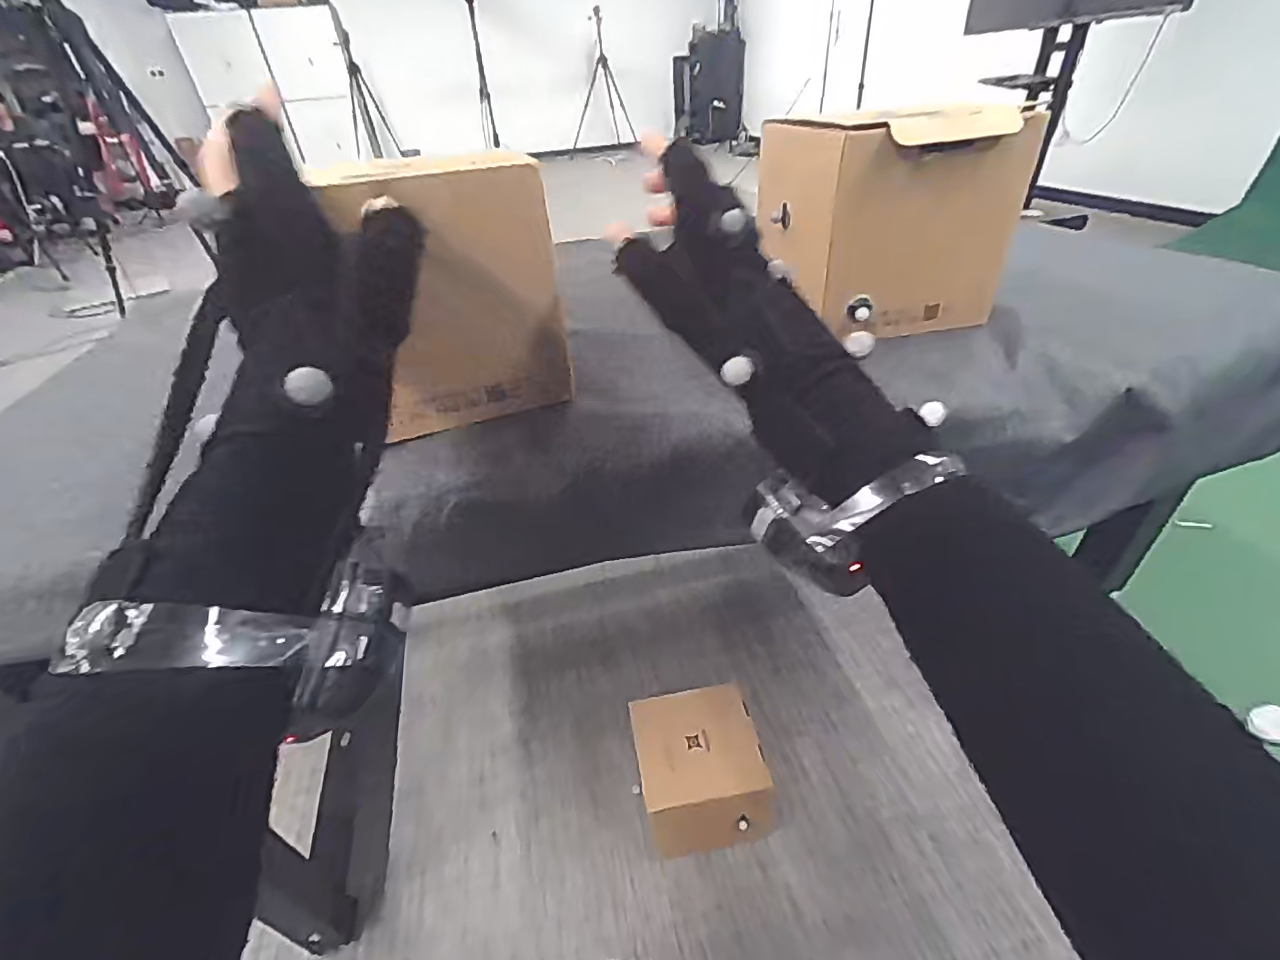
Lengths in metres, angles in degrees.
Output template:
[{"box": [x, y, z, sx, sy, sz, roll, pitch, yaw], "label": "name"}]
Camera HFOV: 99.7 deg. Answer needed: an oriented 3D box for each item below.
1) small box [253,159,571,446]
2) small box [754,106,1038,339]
[{"box": [-0.164, -0.149, 0.432, 0.168, 0.176, 0.179, -17, 36, -15], "label": "small box"}, {"box": [0.215, -0.242, 0.513, 0.168, 0.176, 0.179, -9, 36, -5], "label": "small box"}]
